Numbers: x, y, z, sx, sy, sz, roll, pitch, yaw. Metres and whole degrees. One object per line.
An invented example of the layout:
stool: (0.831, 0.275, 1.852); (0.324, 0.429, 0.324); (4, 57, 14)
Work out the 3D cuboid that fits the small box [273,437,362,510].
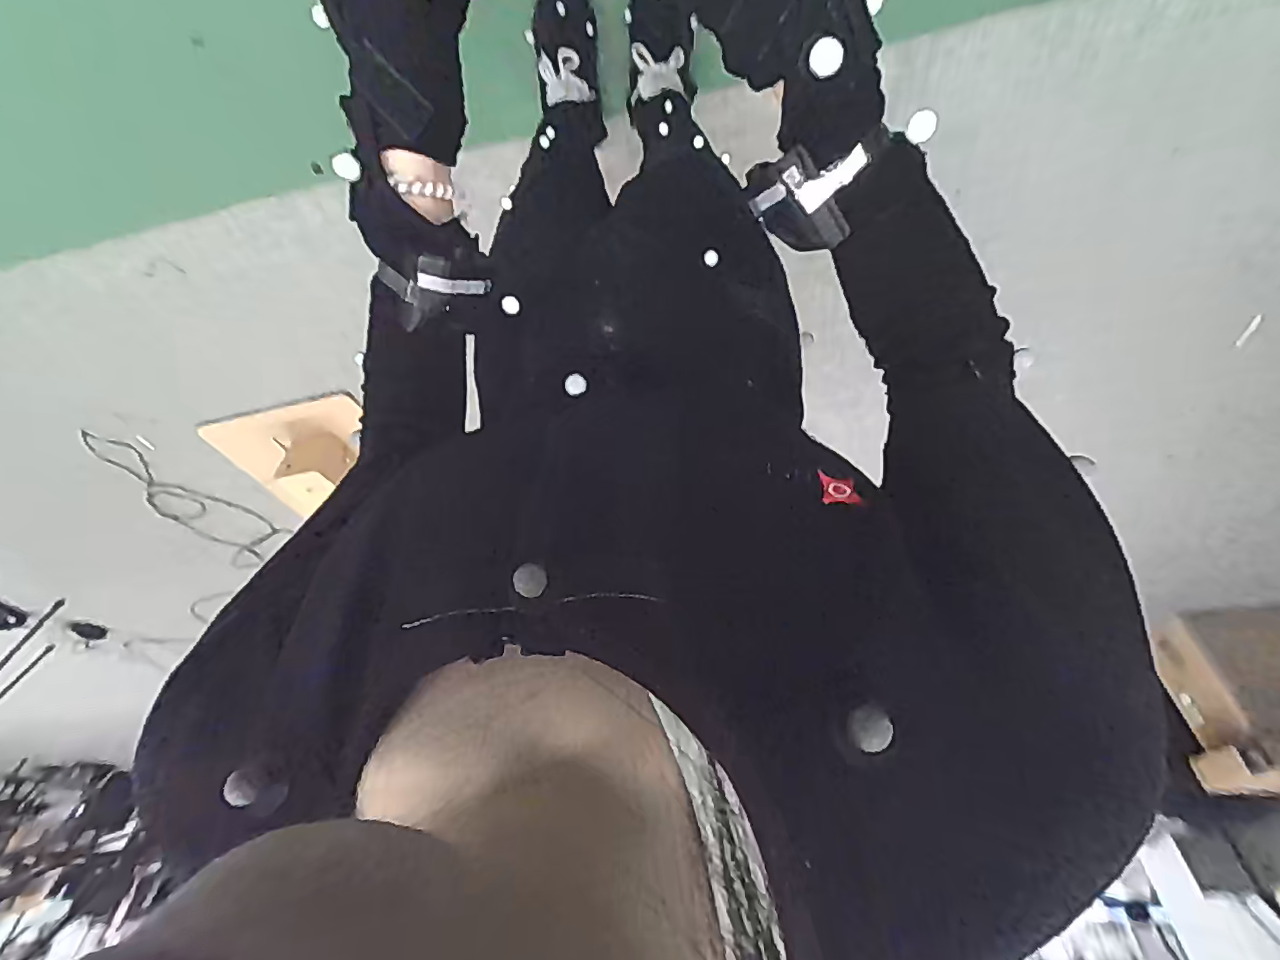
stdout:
small box: (-1.087, -0.023, 1.839); (0.179, 0.176, 0.168); (-10, 140, 11)
